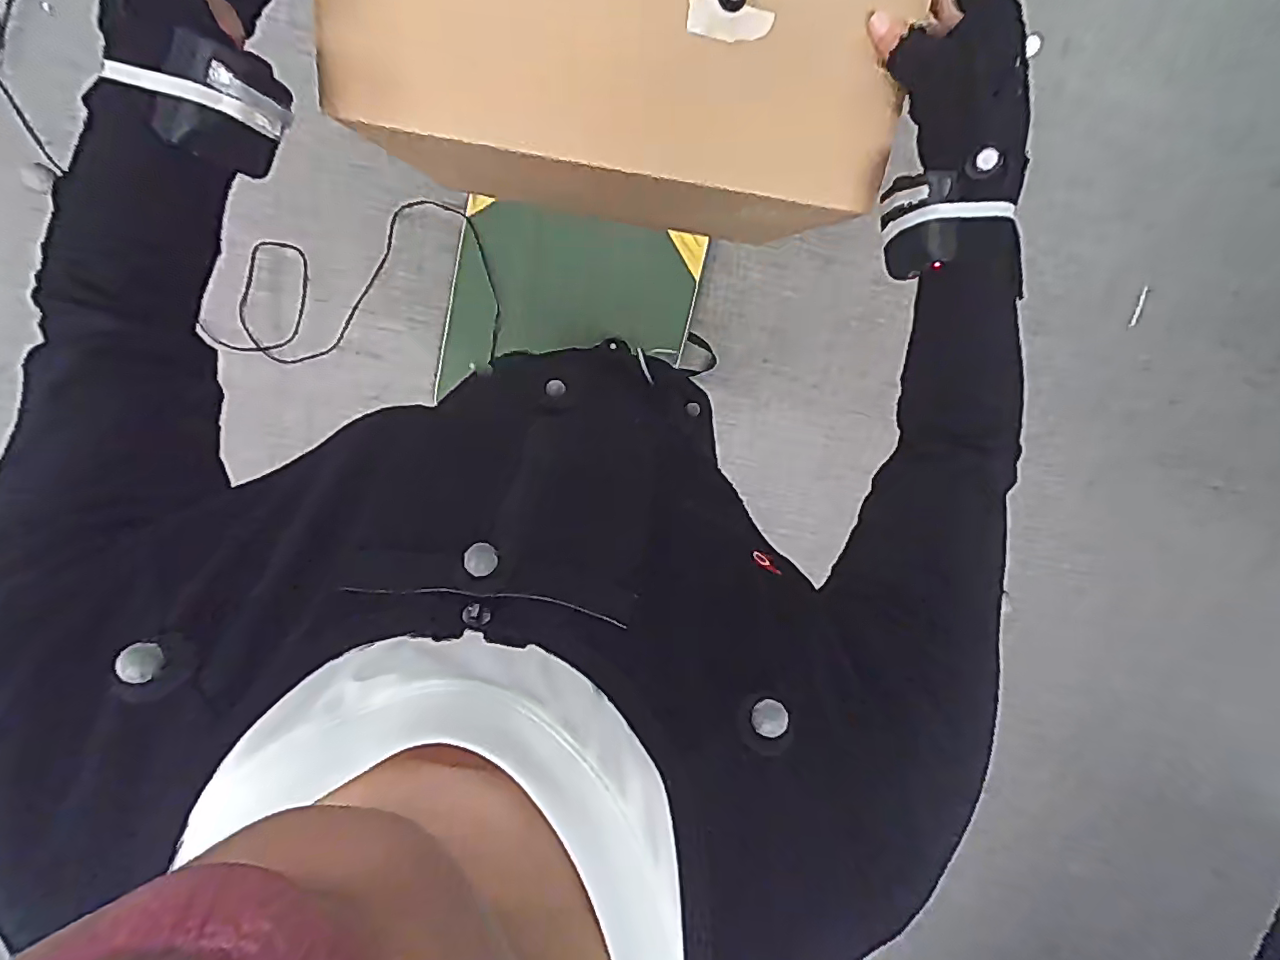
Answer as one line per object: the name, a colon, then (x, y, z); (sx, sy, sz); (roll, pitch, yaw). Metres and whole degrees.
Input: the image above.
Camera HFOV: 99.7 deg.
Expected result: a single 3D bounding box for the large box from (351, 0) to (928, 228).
large box: (0.001, -0.437, 0.493); (0.408, 0.320, 0.320); (6, 110, -7)
